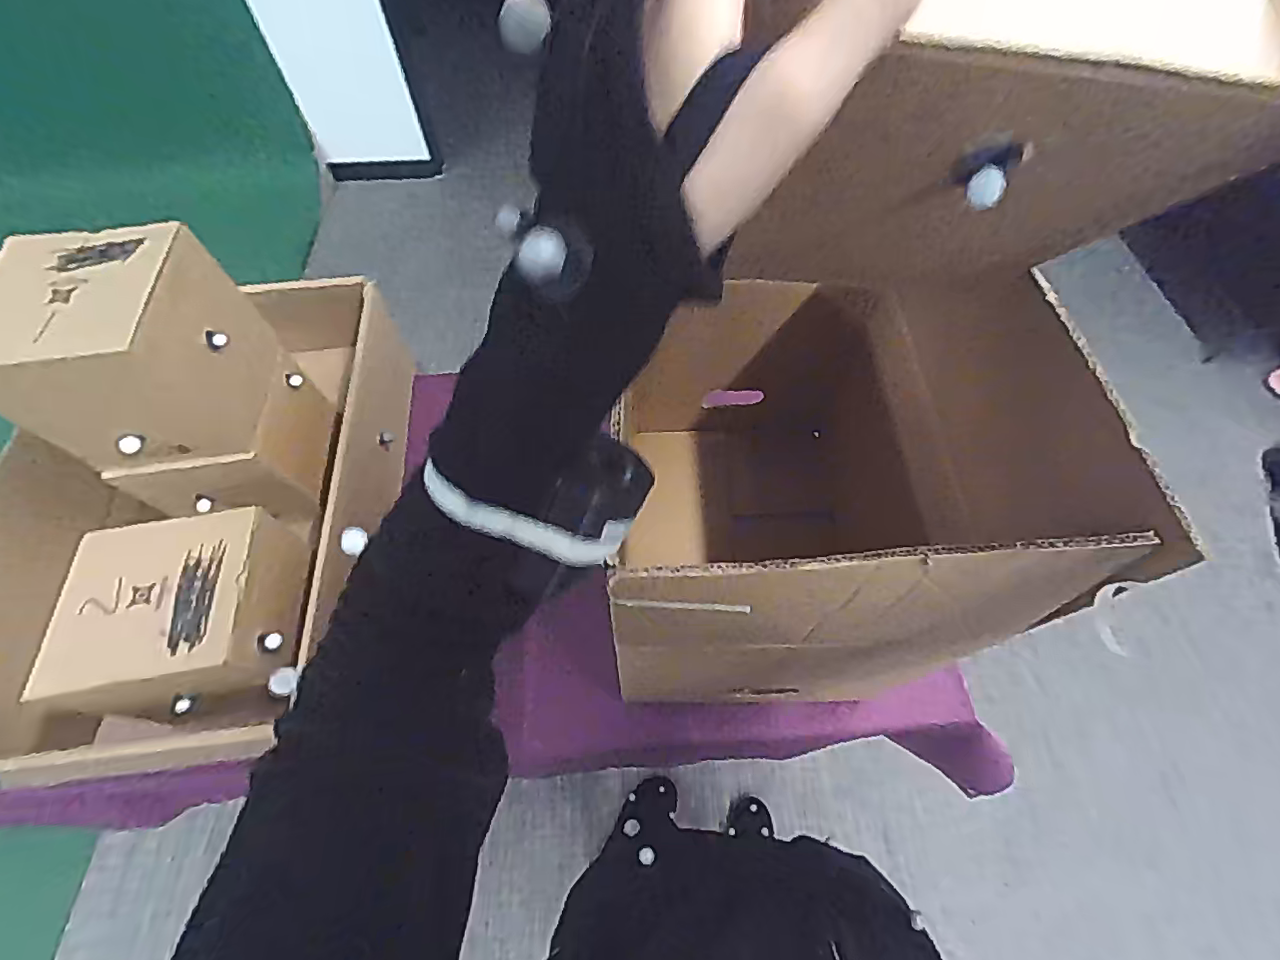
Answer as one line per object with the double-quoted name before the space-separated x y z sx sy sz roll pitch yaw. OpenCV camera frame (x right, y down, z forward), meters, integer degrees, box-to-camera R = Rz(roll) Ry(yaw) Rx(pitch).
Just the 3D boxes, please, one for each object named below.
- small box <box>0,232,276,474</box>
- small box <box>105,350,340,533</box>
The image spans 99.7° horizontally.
"small box" -0.526 -0.128 0.572 0.168 0.176 0.179 -7 62 -3
"small box" -0.523 -0.041 0.711 0.168 0.176 0.179 -8 60 -3
